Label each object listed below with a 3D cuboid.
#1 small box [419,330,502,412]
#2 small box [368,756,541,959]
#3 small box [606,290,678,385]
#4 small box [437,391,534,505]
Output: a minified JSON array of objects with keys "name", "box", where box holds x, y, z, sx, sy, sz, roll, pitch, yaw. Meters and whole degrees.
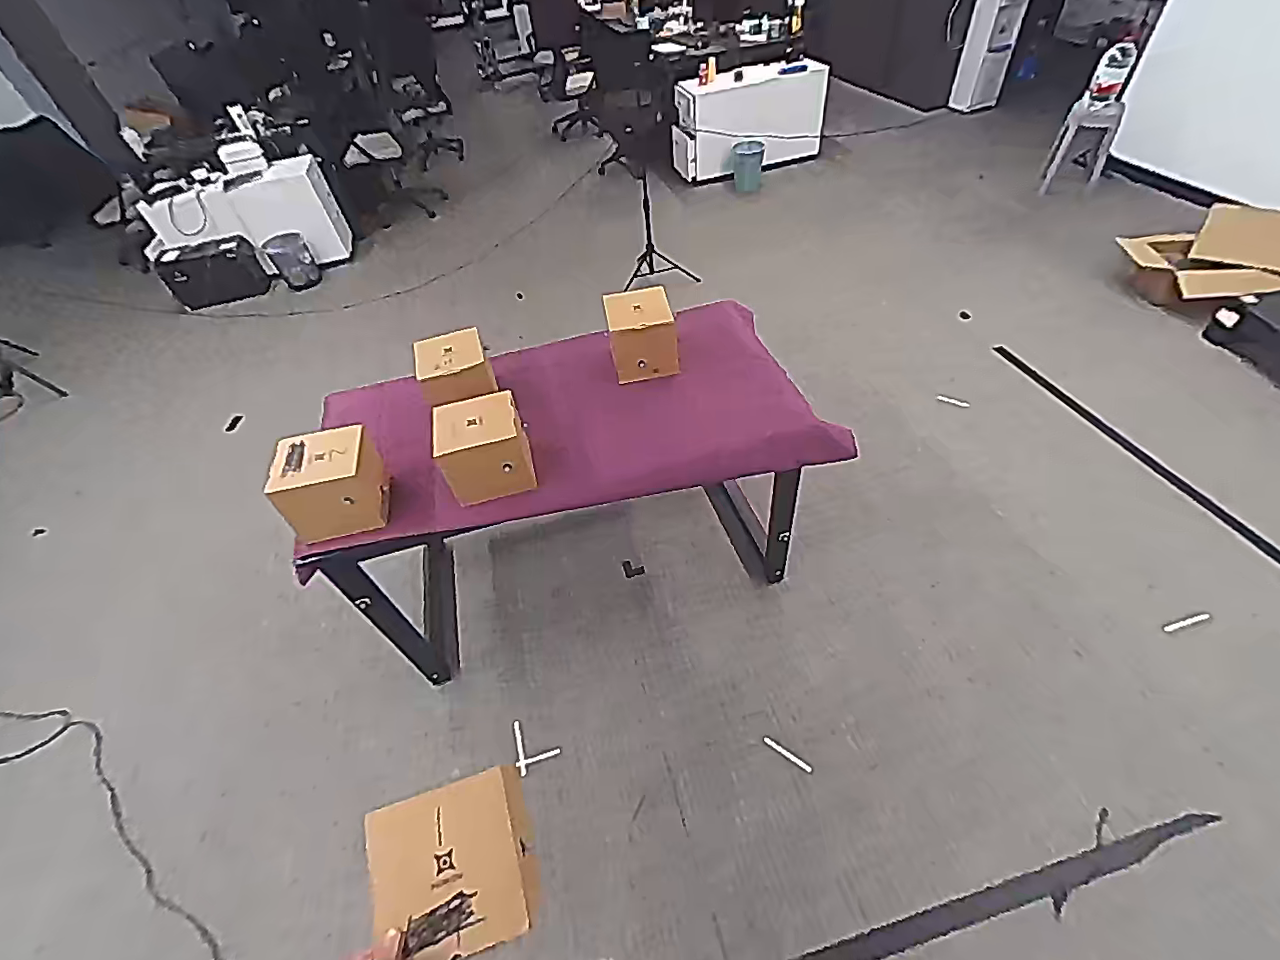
[{"name":"small box","box":[-0.463,-0.259,1.410,0.168,0.176,0.179,-17,48,-8]},{"name":"small box","box":[-0.230,0.476,0.701,0.168,0.176,0.179,-14,66,-13]},{"name":"small box","box":[0.007,-0.384,1.461,0.168,0.176,0.179,-11,49,-1]},{"name":"small box","box":[-0.343,-0.070,1.219,0.179,0.176,0.168,-14,47,-6]}]
